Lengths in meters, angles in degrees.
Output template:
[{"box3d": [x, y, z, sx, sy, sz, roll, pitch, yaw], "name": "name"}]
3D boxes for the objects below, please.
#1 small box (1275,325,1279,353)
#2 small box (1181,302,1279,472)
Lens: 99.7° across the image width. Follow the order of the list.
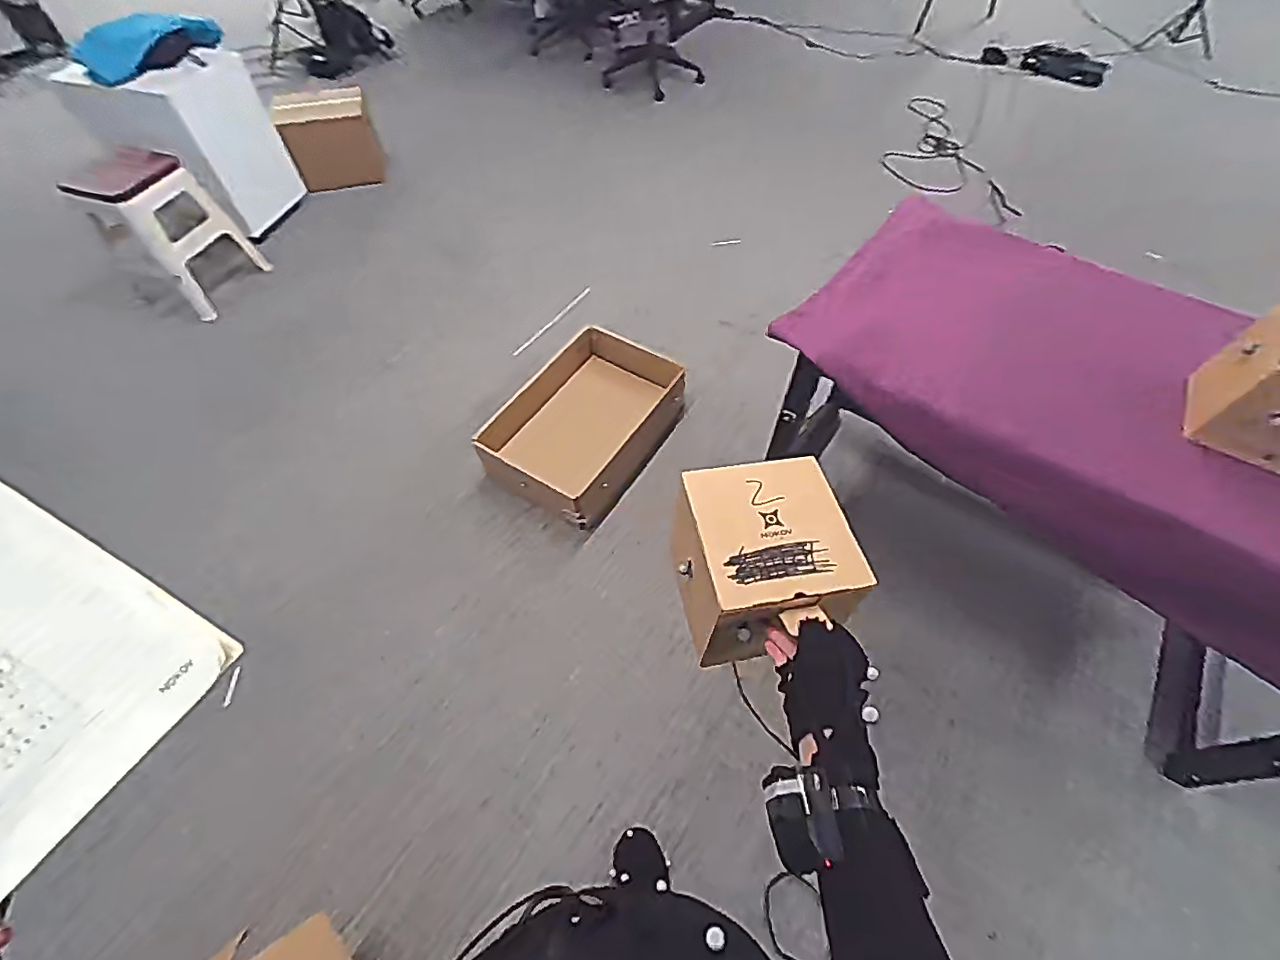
[{"box3d": [1.023, -0.235, 0.720, 0.168, 0.176, 0.179, 31, 61, 20], "name": "small box"}, {"box3d": [1.017, -0.141, 0.855, 0.168, 0.176, 0.179, 28, 60, 18], "name": "small box"}]
